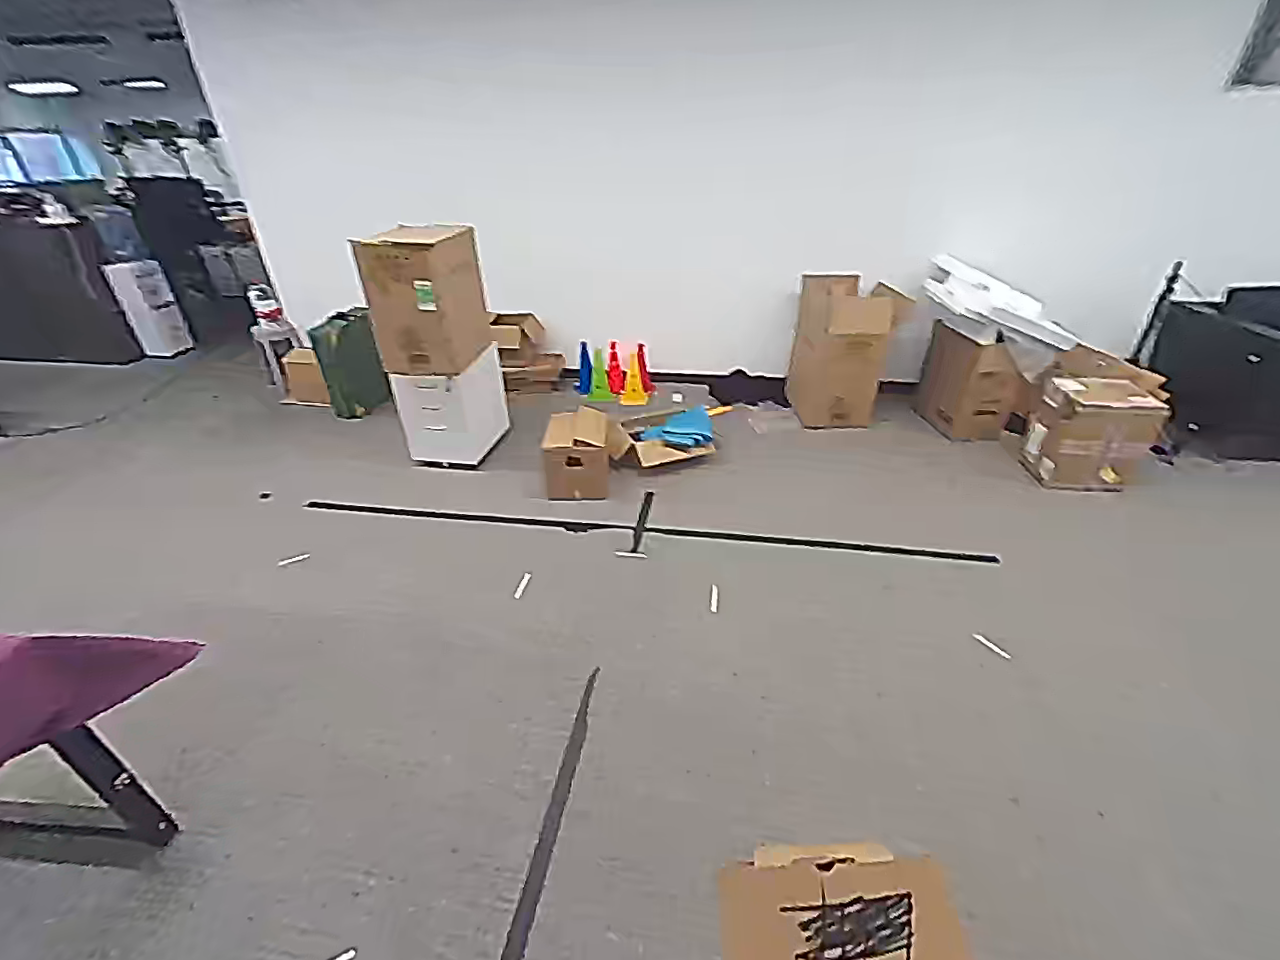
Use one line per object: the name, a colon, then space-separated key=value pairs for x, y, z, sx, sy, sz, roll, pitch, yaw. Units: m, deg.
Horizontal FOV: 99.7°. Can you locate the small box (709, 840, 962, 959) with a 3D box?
small box: x=0.146 y=0.396 z=0.405 sx=0.168 sy=0.176 sz=0.179 roll=-9 pitch=44 yaw=6
